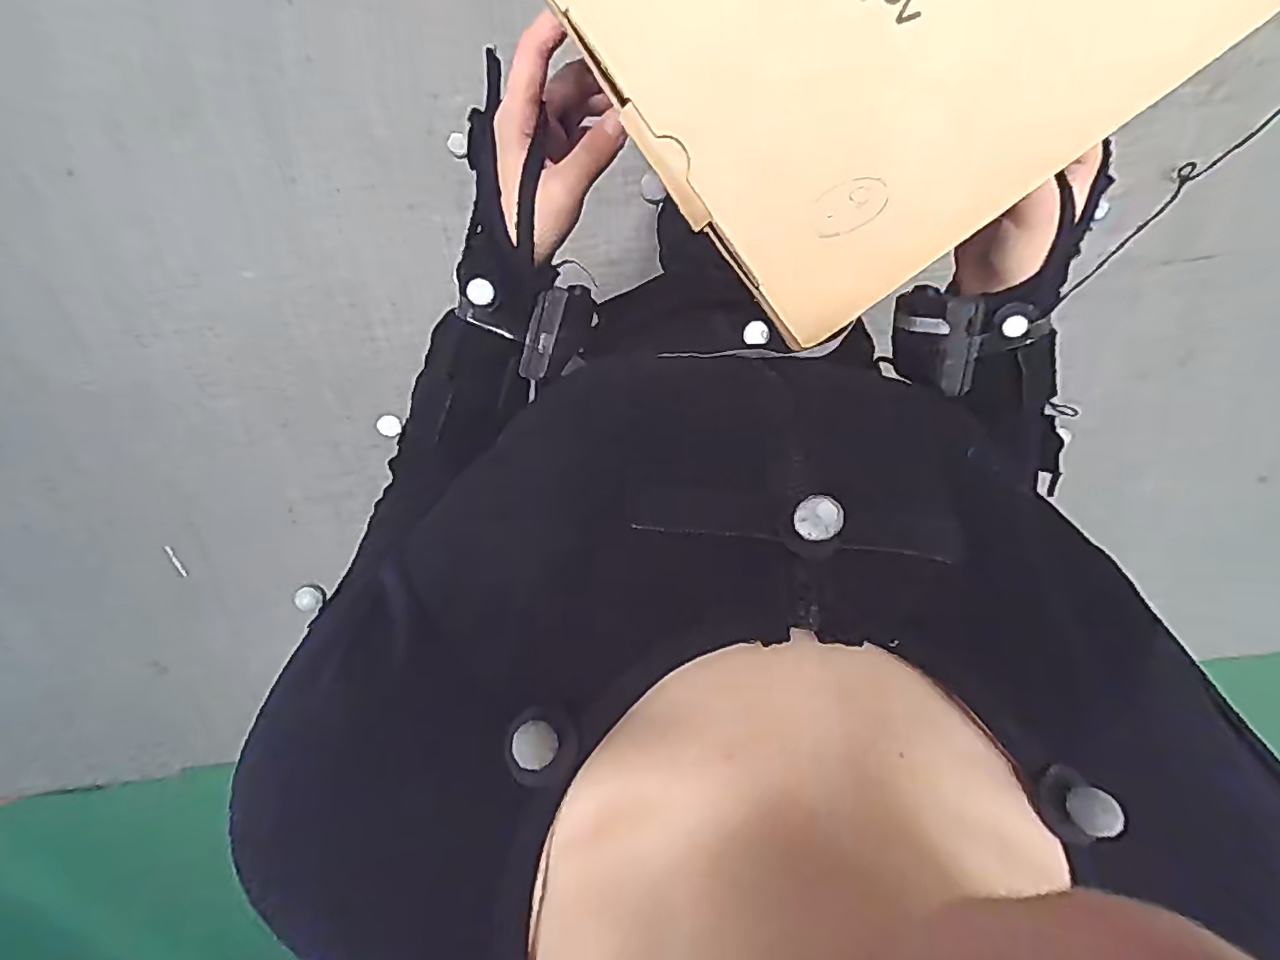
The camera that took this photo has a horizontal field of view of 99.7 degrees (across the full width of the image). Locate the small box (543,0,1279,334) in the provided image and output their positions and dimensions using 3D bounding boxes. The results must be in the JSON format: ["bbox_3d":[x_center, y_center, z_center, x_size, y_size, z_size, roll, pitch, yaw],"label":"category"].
[{"bbox_3d":[0.081,-0.193,0.220,0.179,0.176,0.168,-35,110,22],"label":"small box"}]
